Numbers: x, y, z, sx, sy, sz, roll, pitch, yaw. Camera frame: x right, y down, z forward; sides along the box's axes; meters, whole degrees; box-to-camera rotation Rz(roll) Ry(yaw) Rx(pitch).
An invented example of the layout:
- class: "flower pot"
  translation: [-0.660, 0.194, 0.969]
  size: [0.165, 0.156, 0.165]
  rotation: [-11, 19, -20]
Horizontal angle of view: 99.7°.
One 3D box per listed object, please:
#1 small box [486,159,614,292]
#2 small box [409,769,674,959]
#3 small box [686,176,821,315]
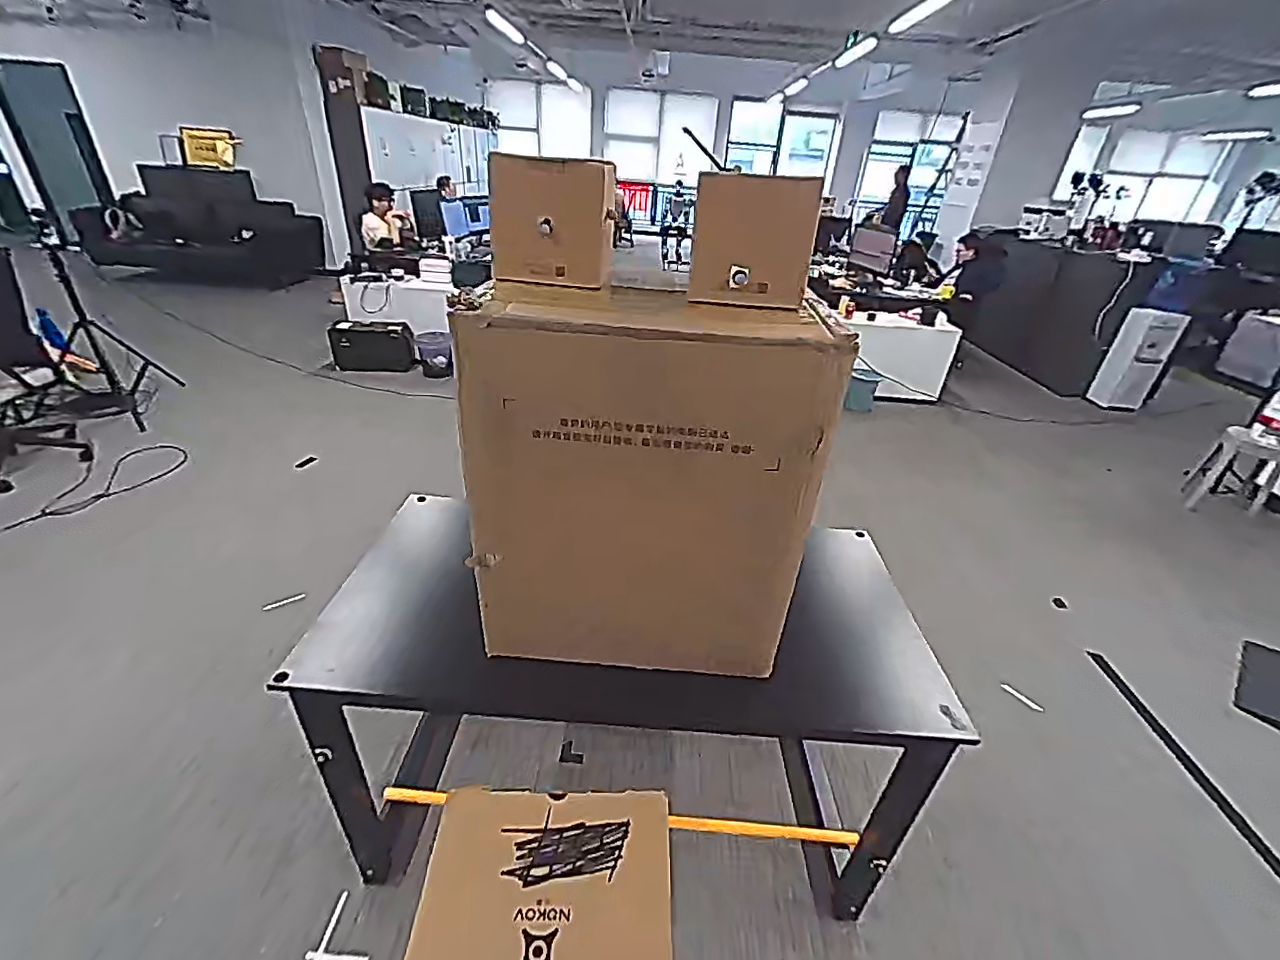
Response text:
- class: "small box"
  translation: [-0.133, -0.402, 0.853]
  size: [0.168, 0.176, 0.179]
  rotation: [6, 30, -1]
- class: "small box"
  translation: [-0.064, 0.345, 0.401]
  size: [0.168, 0.176, 0.179]
  rotation: [1, 37, -1]
- class: "small box"
  translation: [0.158, -0.357, 0.817]
  size: [0.168, 0.176, 0.179]
  rotation: [4, 30, 3]
